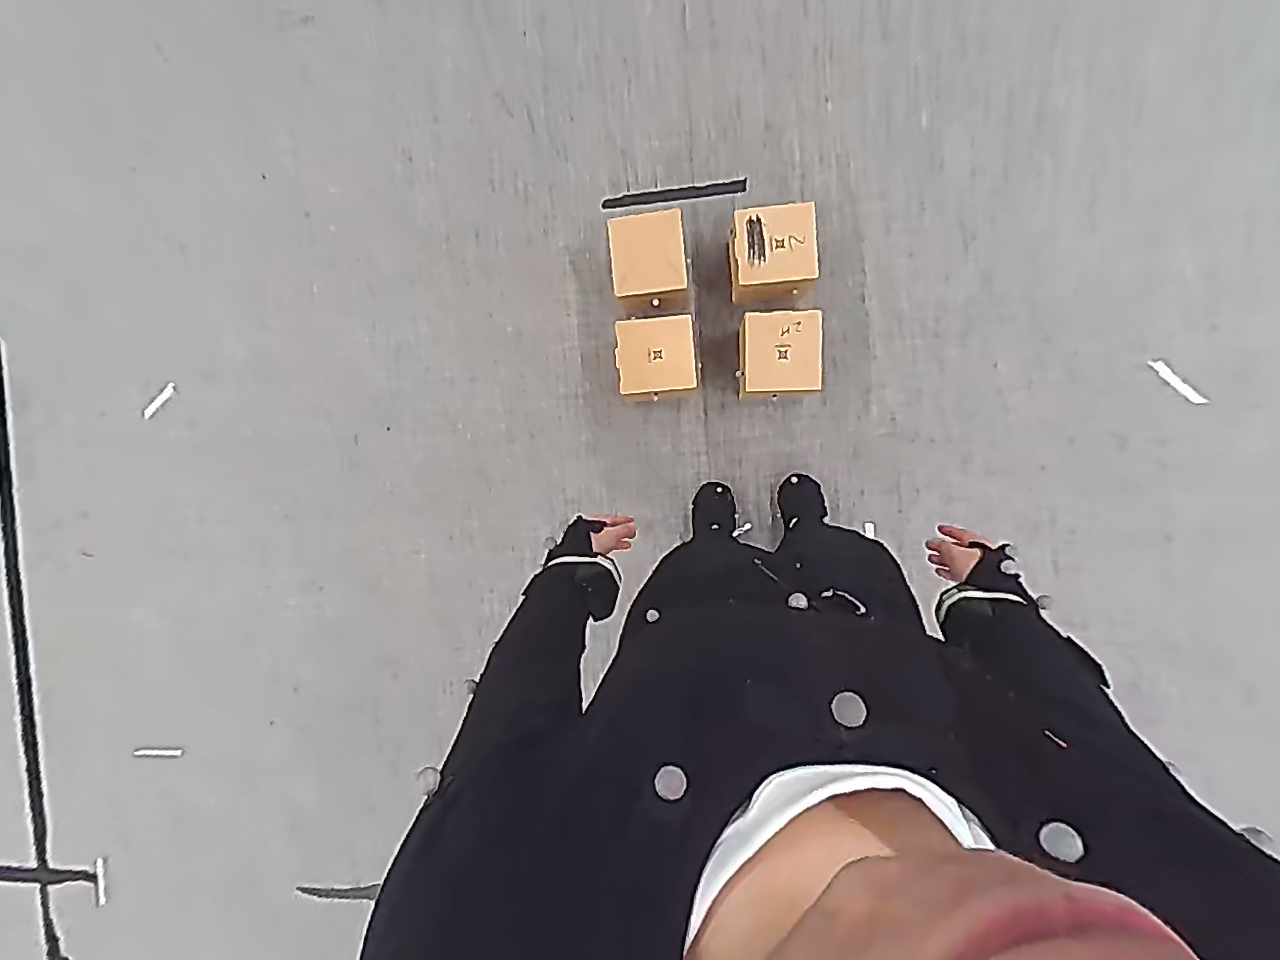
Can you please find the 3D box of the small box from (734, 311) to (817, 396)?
[{"bbox_3d":[0.313,-0.289,1.270,0.168,0.176,0.179,0,93,5],"label":"small box"}]

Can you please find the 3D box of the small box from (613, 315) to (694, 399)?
[{"bbox_3d":[0.037,-0.289,1.299,0.179,0.176,0.168,-4,92,7],"label":"small box"}]
